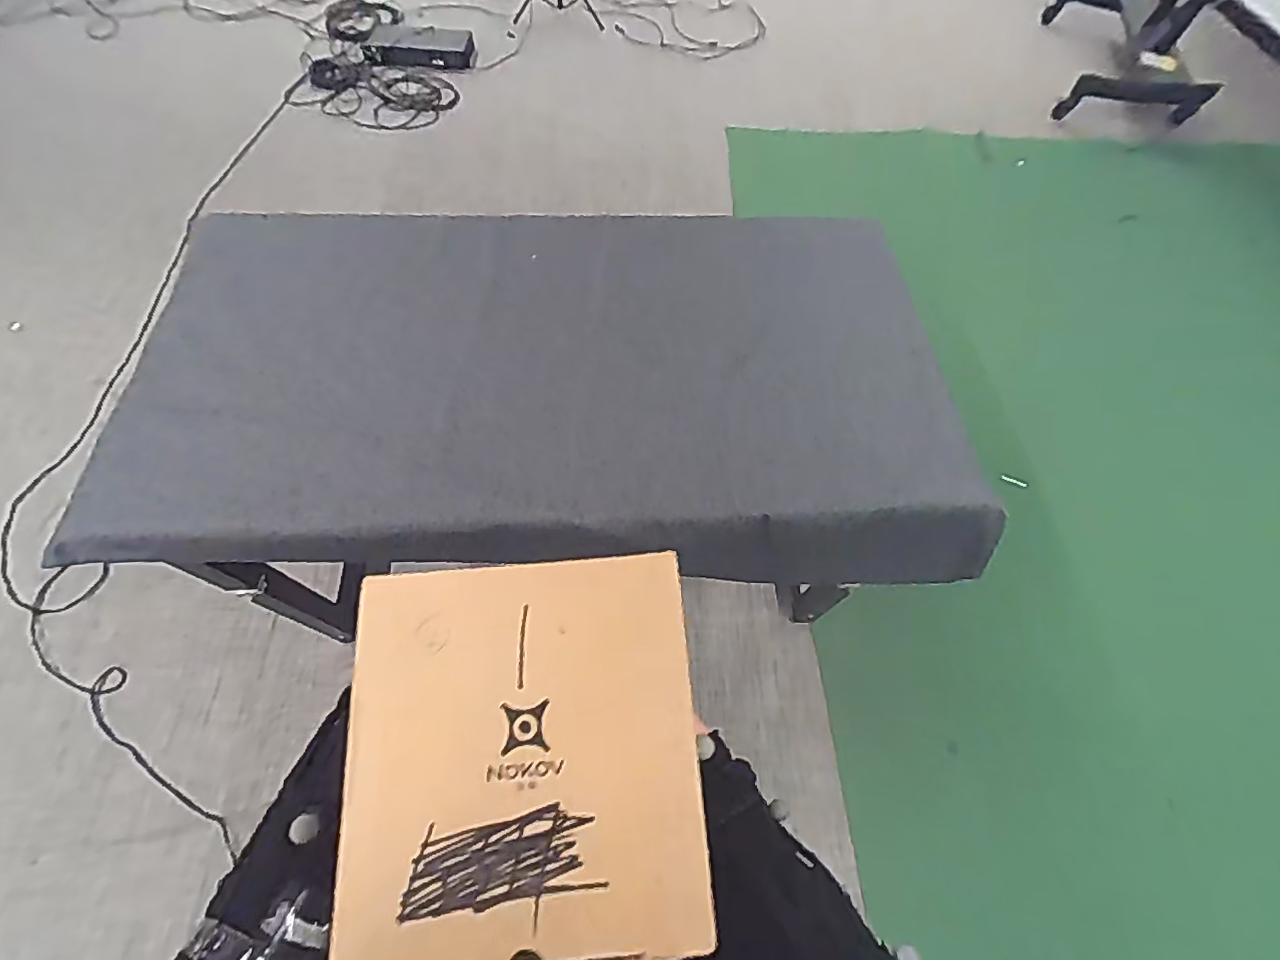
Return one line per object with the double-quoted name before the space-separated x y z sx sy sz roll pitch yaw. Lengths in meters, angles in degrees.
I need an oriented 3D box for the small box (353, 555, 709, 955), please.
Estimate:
"small box" -0.052 0.152 0.344 0.168 0.176 0.179 -3 71 -1
